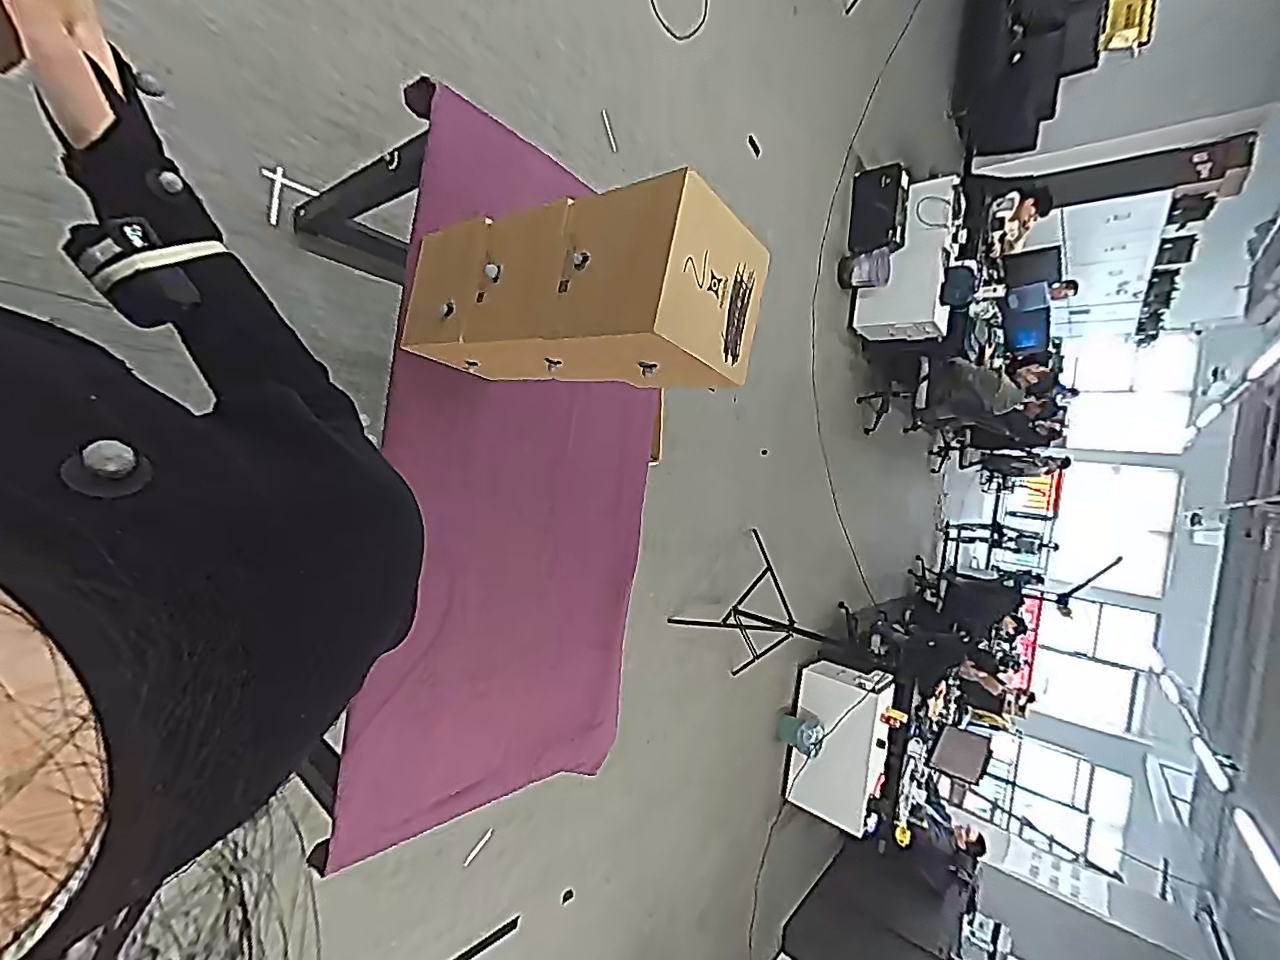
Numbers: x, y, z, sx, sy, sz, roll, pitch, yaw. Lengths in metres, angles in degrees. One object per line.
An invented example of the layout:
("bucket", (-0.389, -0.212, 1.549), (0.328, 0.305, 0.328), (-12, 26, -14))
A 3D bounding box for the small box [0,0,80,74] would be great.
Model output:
("small box", (-0.435, -0.369, 0.293), (0.168, 0.176, 0.179), (3, 101, -58))

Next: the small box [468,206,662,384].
("small box", (-0.099, -0.233, 0.727), (0.179, 0.176, 0.168), (13, 87, -49))

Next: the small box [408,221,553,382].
("small box", (-0.229, -0.256, 0.825), (0.168, 0.176, 0.179), (14, 85, -50))
